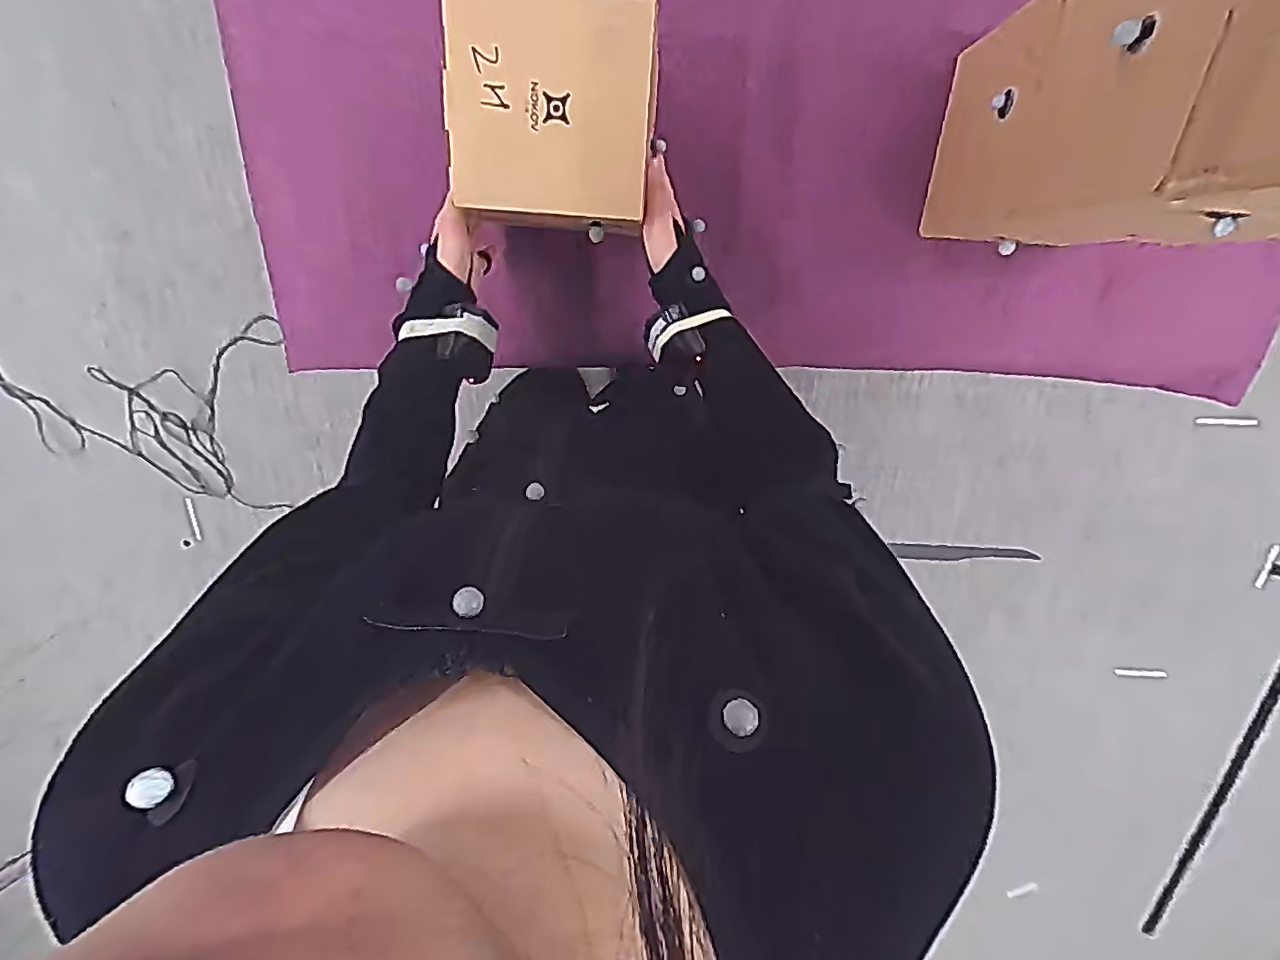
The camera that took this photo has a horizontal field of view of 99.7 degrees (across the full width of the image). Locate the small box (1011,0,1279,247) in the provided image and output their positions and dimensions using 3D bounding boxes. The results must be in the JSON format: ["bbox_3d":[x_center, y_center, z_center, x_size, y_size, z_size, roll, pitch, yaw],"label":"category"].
[{"bbox_3d":[0.397,-0.266,0.365,0.168,0.176,0.179,7,110,1],"label":"small box"}]

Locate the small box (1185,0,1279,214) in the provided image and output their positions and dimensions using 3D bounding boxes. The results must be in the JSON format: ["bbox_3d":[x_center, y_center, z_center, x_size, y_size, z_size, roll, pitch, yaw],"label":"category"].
[{"bbox_3d":[0.390,-0.203,0.214,0.168,0.176,0.179,6,110,1],"label":"small box"}]

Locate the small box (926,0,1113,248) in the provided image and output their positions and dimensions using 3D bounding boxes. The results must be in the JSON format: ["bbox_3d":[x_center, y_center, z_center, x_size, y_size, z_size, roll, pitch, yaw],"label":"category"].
[{"bbox_3d":[0.404,-0.327,0.517,0.168,0.176,0.179,5,111,1],"label":"small box"}]

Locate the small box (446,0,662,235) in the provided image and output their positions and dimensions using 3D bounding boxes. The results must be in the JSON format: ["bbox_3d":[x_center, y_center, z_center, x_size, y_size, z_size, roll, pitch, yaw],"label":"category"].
[{"bbox_3d":[-0.072,-0.342,0.532,0.179,0.176,0.168,5,110,1],"label":"small box"}]
